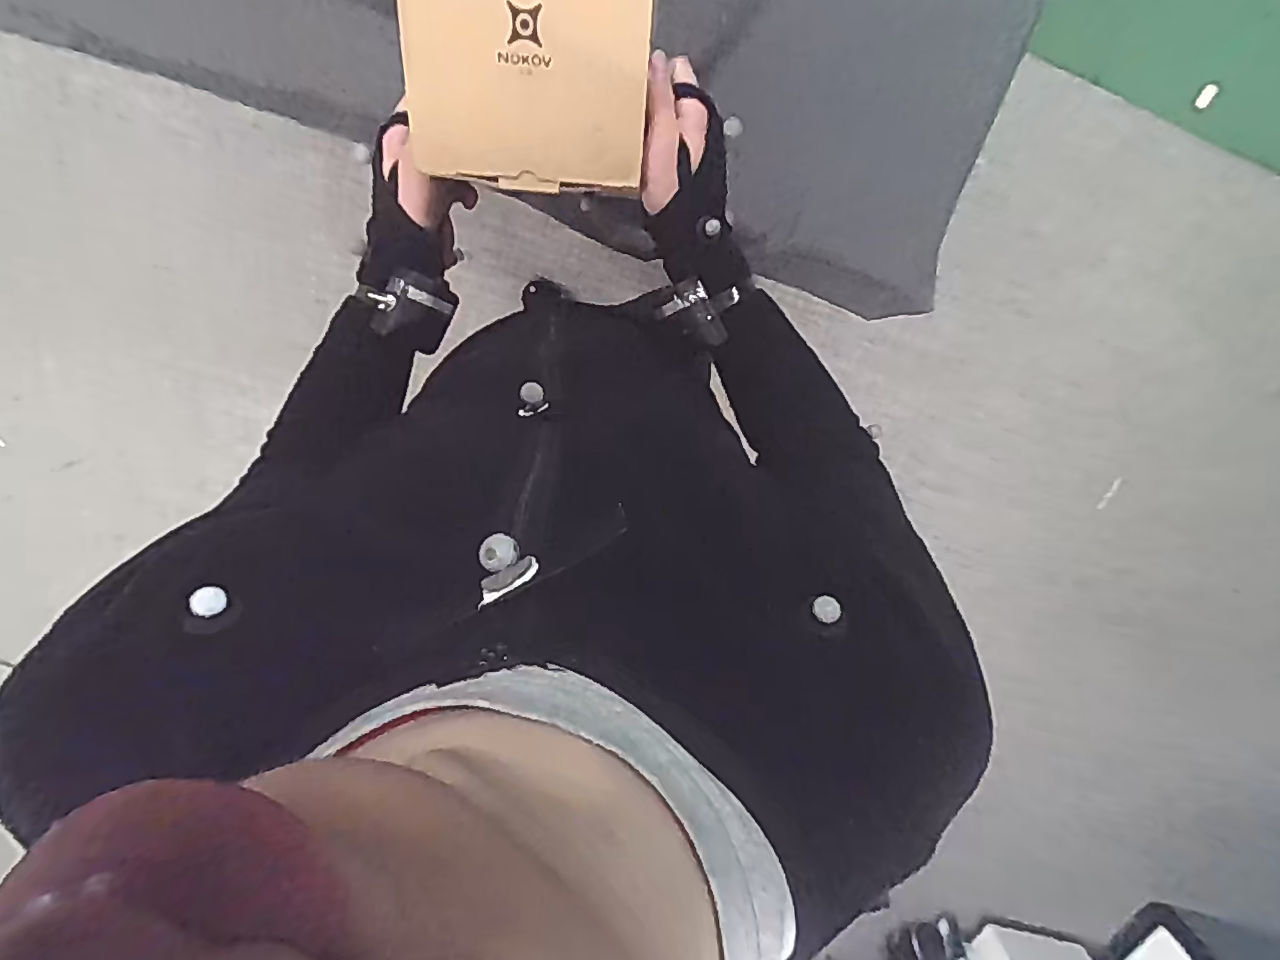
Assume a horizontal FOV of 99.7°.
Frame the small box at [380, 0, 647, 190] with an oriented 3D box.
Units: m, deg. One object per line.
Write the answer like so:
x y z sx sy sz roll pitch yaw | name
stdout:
-0.081 -0.328 0.414 0.168 0.176 0.179 3 116 -2 | small box
